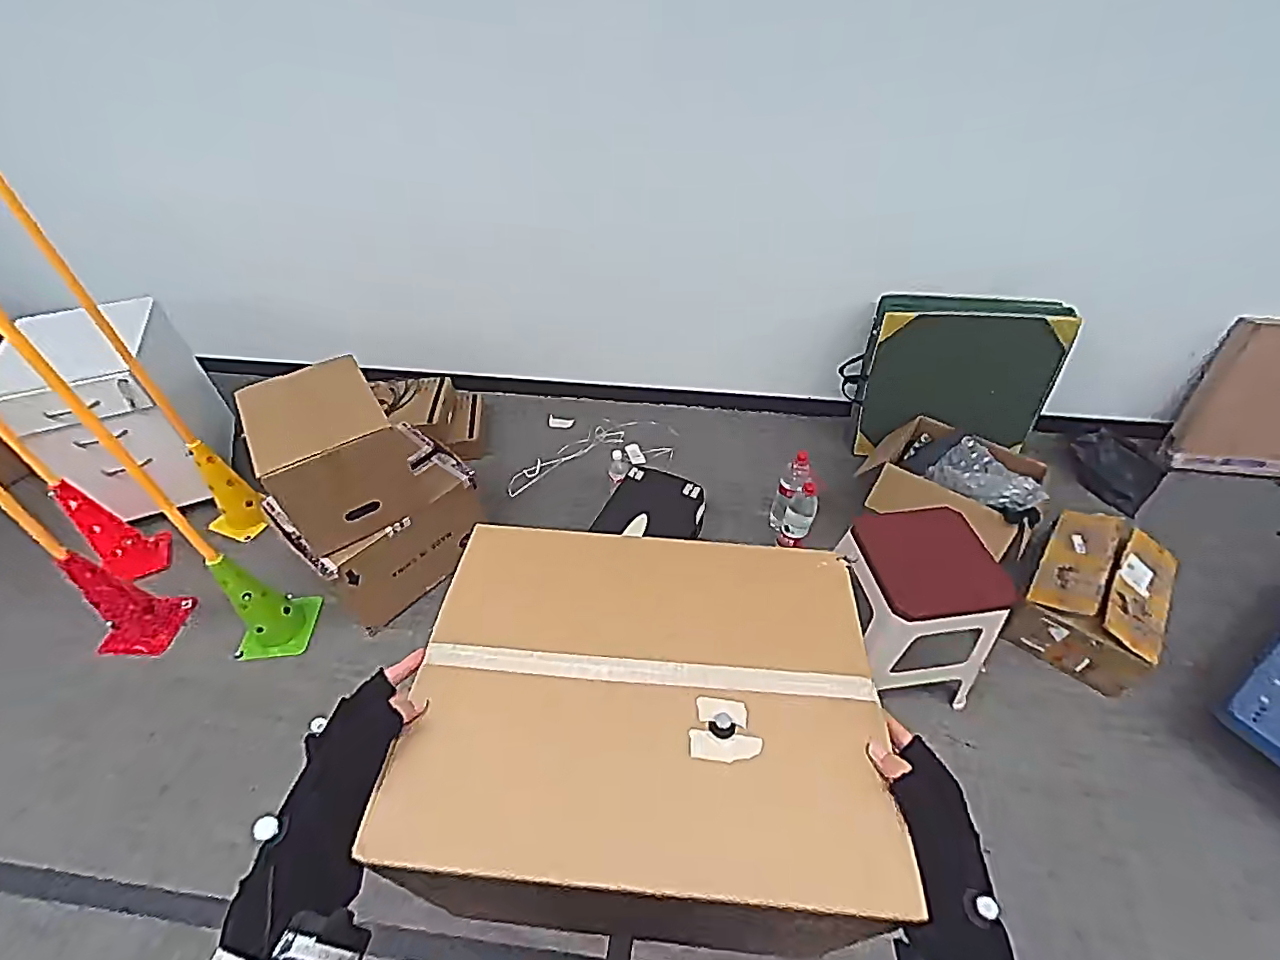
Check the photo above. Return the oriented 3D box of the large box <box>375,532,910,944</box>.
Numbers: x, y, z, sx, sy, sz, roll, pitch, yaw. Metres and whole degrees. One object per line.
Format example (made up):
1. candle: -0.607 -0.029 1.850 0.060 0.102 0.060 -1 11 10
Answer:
1. large box: 0.004 0.283 0.602 0.408 0.320 0.320 4 45 3
